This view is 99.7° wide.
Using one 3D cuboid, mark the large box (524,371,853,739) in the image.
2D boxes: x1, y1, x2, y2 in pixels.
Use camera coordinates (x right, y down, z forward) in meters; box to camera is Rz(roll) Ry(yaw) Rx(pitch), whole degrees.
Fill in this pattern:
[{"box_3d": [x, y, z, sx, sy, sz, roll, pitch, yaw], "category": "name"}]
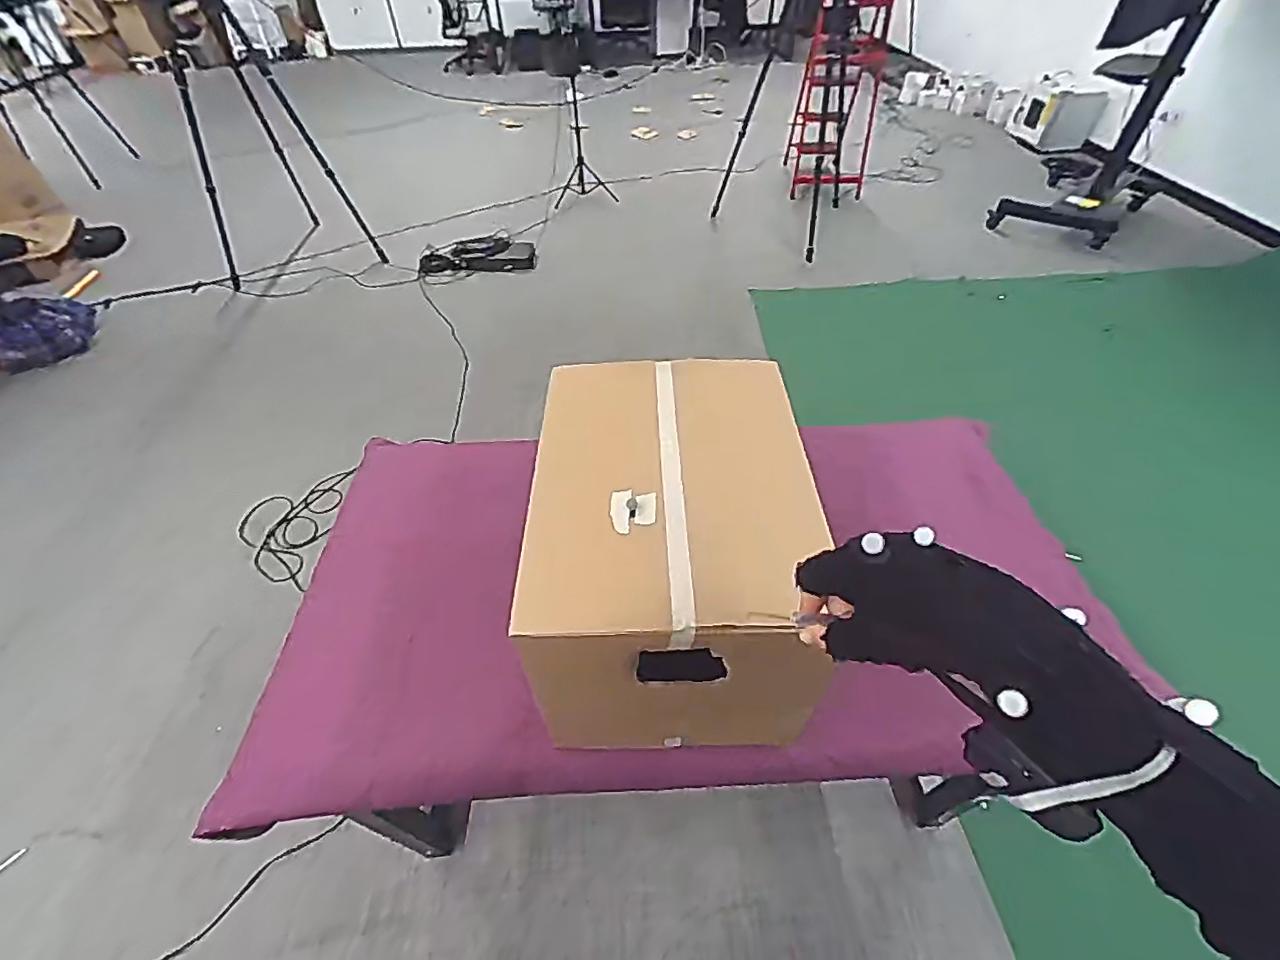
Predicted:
[{"box_3d": [0.040, 0.096, 0.738, 0.320, 0.320, 0.408, -1, 48, 0], "category": "large box"}]
